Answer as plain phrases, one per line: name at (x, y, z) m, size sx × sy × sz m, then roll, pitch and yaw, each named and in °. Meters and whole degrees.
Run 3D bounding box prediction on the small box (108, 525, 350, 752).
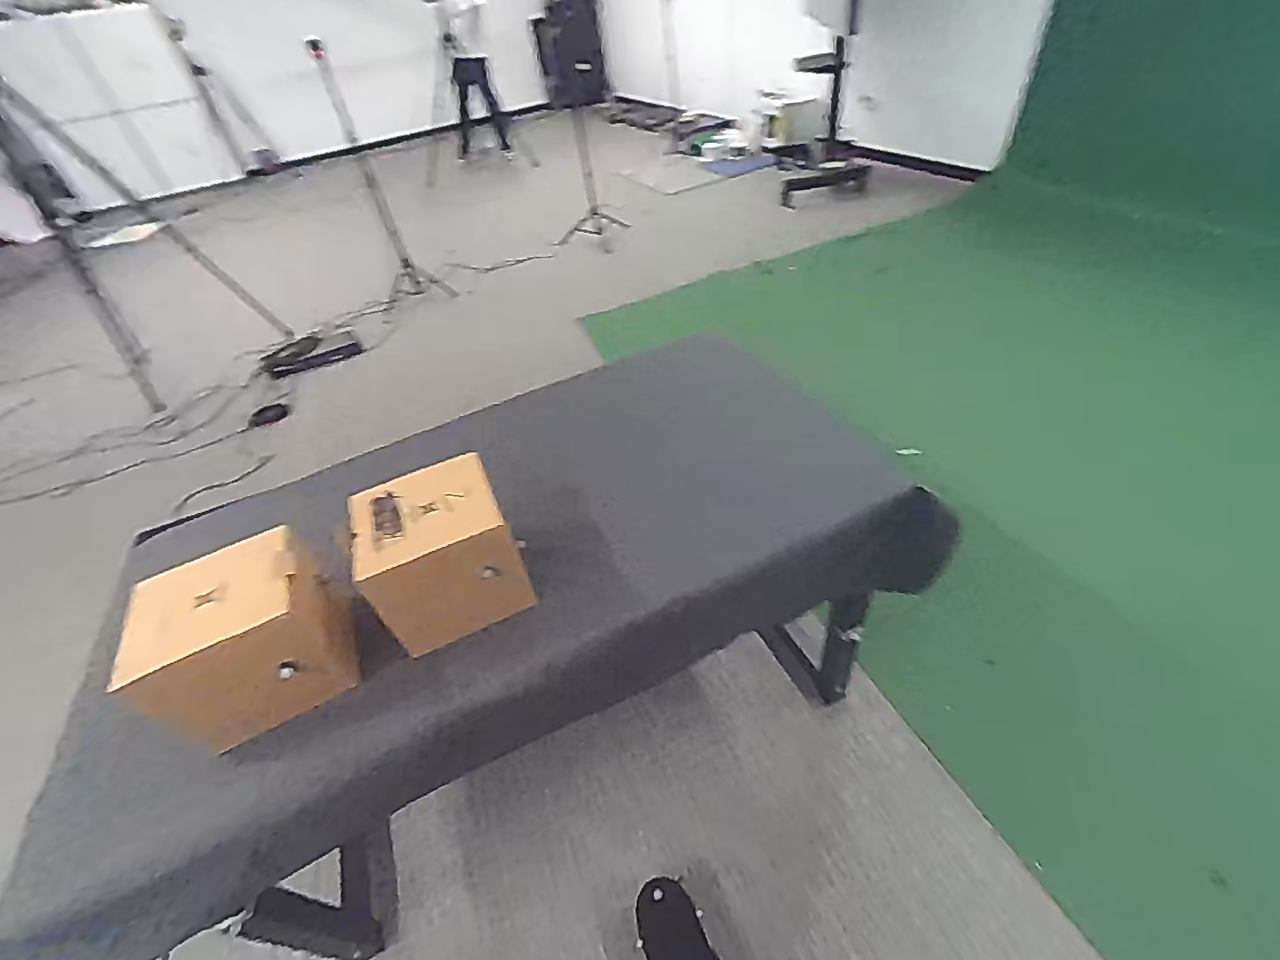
small box at (-0.485, 0.195, 0.672) m, size 0.179 × 0.176 × 0.168 m, roll -26°, pitch 44°, yaw -16°
